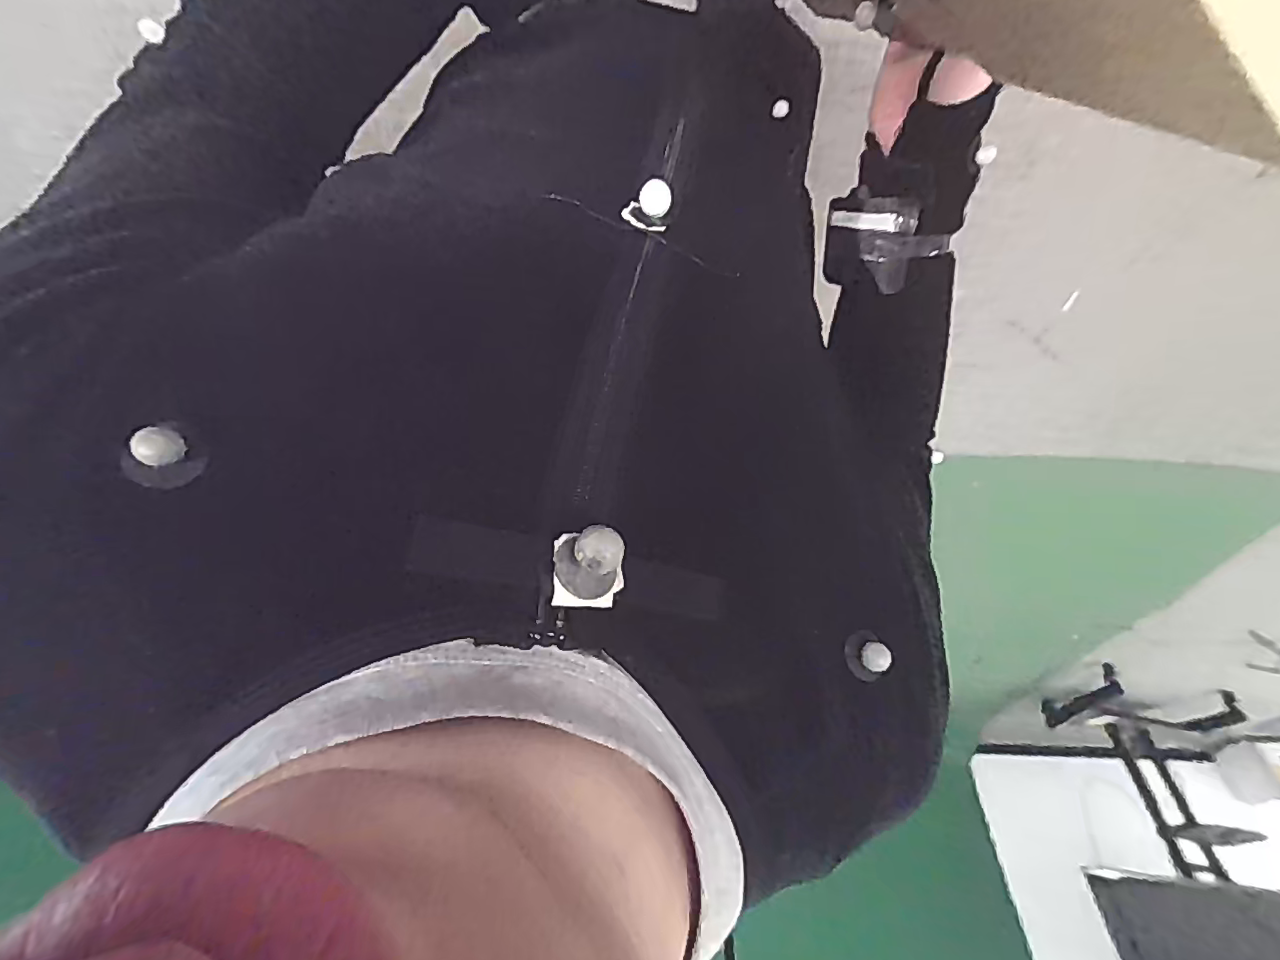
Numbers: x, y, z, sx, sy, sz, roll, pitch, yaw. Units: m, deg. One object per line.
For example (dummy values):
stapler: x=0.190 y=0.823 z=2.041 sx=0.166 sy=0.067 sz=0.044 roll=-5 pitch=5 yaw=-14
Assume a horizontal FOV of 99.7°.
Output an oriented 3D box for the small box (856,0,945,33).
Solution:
small box: x=0.143 y=-0.328 z=0.227 sx=0.168 sy=0.176 sz=0.179 roll=23 pitch=128 yaw=-21

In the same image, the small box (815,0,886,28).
small box: x=0.146 y=-0.441 z=0.344 sx=0.168 sy=0.176 sz=0.179 roll=25 pitch=128 yaw=-21
